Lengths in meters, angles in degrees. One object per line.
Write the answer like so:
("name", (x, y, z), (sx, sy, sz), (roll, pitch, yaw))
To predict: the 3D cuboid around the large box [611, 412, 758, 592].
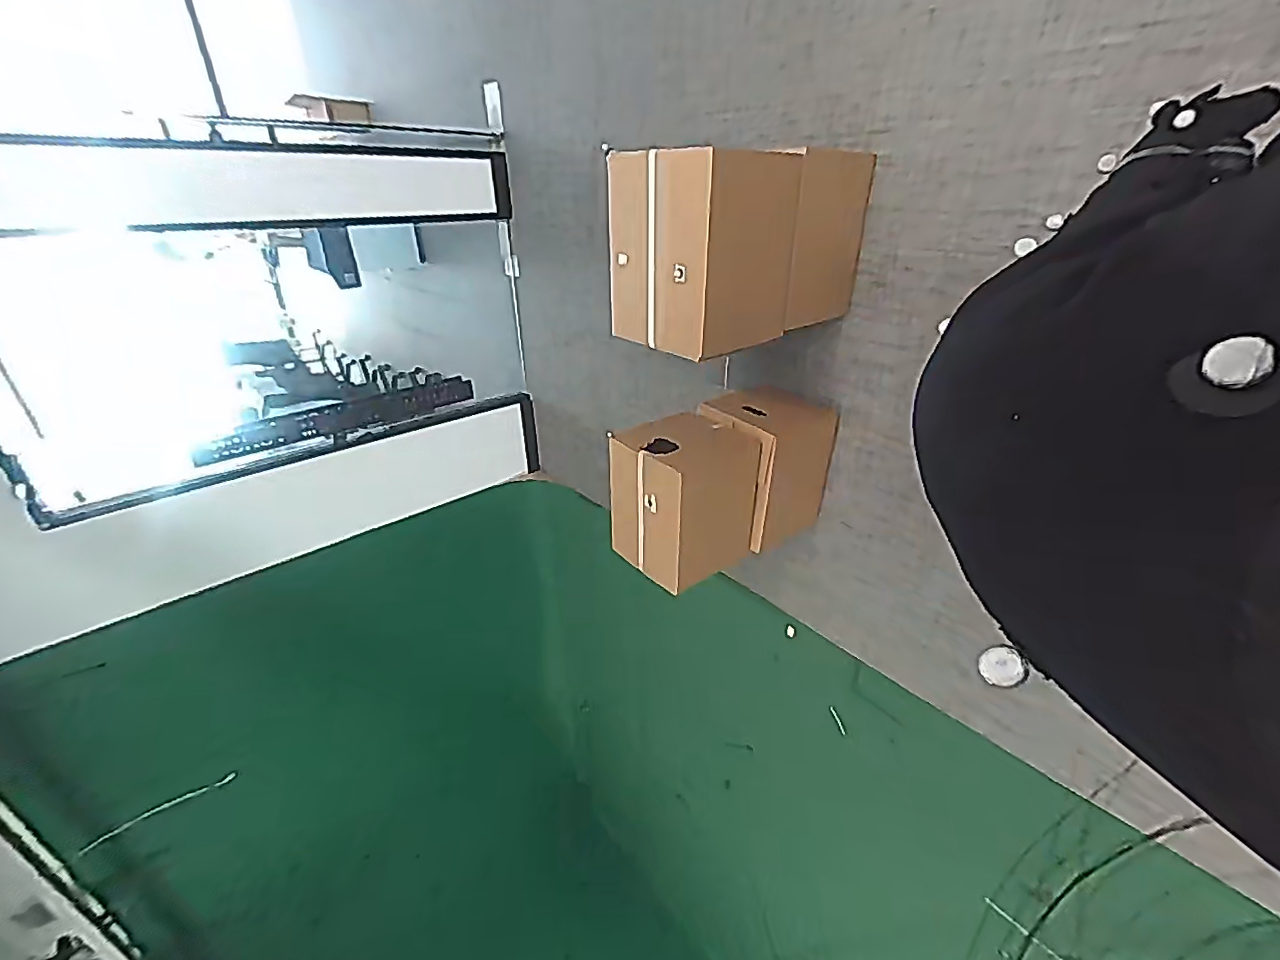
("large box", (0.125, 0.051, 1.628), (0.320, 0.320, 0.408), (32, 131, 44))
